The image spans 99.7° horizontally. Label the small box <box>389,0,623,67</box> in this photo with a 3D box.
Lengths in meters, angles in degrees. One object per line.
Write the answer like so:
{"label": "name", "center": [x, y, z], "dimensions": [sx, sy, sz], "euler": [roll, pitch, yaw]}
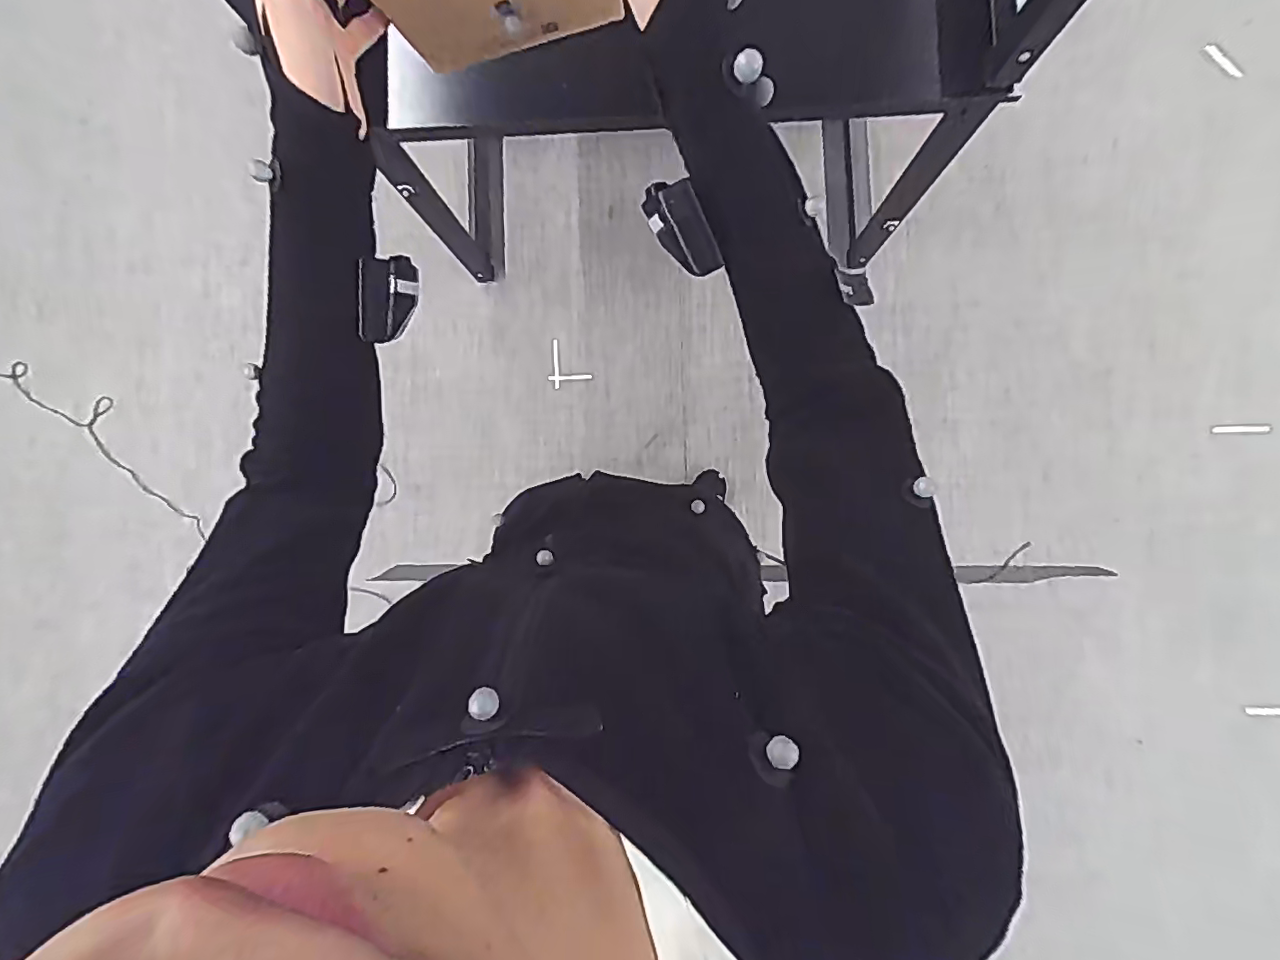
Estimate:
{"label": "small box", "center": [-0.112, -0.412, 0.337], "dimensions": [0.168, 0.176, 0.179], "euler": [-12, 104, 7]}
